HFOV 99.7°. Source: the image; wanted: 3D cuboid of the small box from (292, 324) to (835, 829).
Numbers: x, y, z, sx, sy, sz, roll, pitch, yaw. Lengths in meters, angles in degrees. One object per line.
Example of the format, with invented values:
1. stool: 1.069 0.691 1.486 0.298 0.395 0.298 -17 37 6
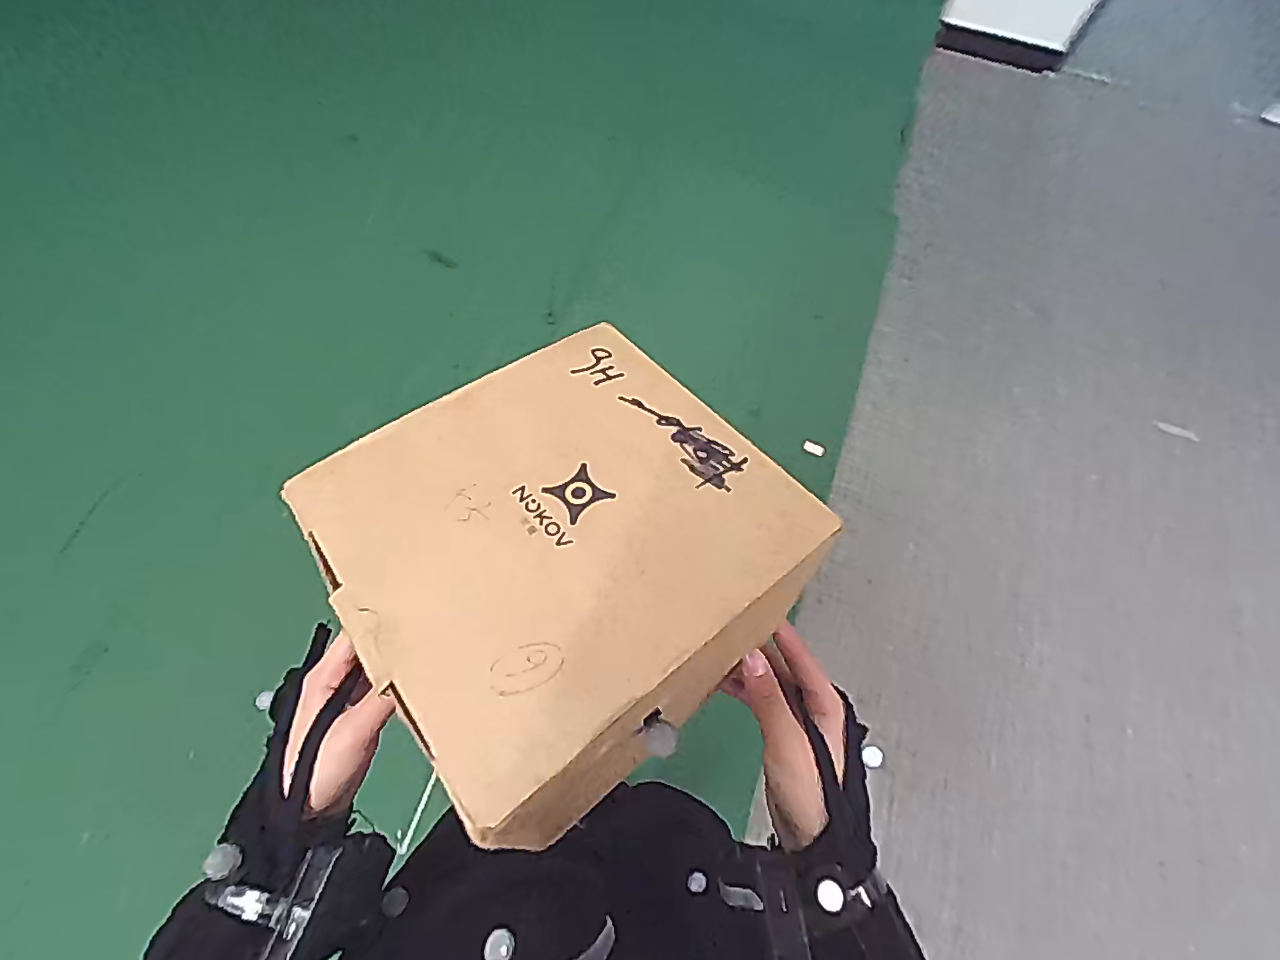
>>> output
1. small box: -0.034 0.056 0.292 0.179 0.176 0.168 -33 63 -22
